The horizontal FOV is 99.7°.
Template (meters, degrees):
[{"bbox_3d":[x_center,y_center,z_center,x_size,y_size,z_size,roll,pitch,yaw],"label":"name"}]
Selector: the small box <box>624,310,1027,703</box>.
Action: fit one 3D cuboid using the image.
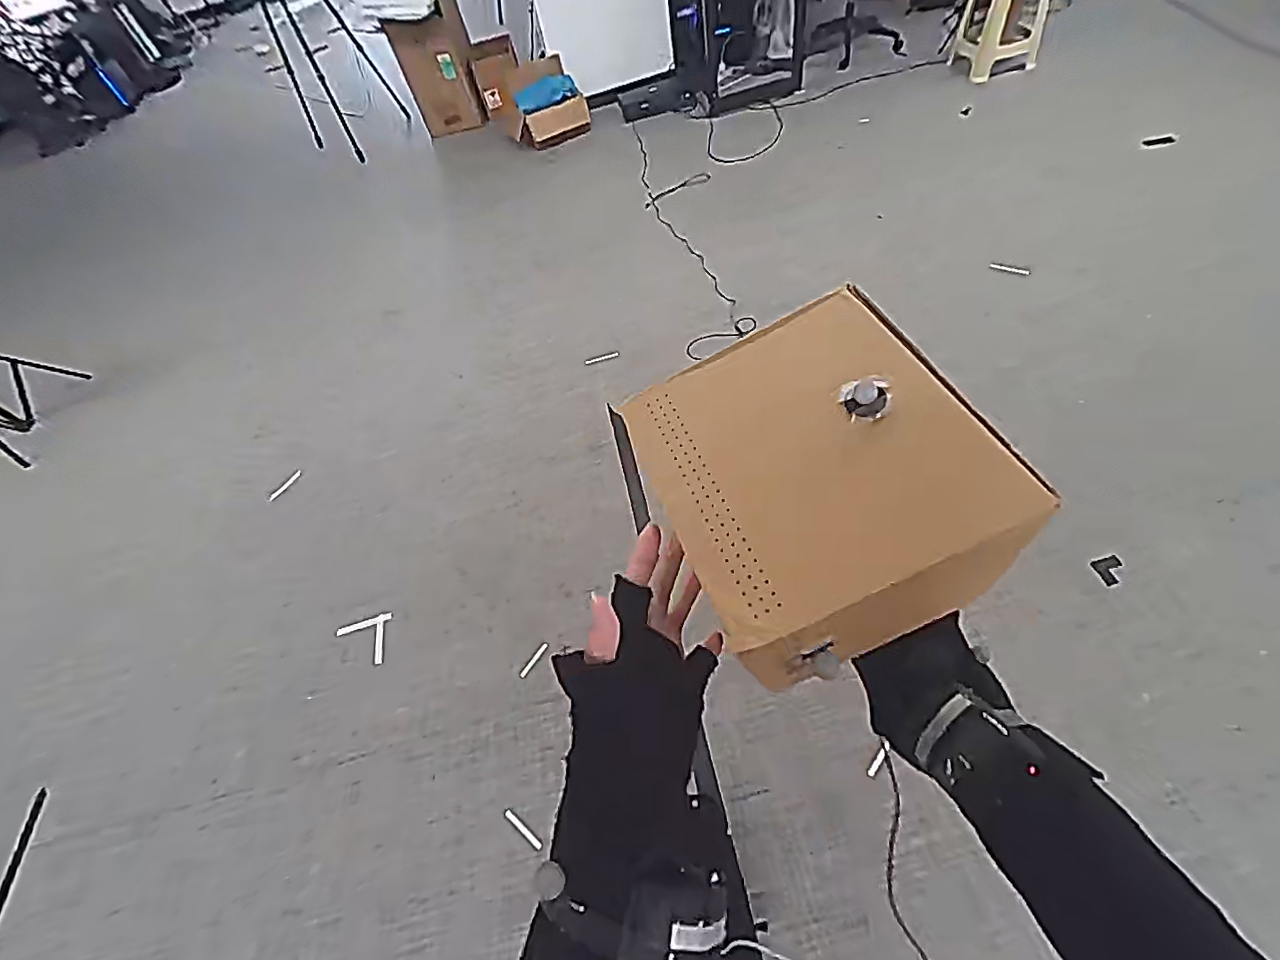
[{"bbox_3d":[0.107,0.026,0.375,0.176,0.168,0.179,-28,56,5],"label":"small box"}]
